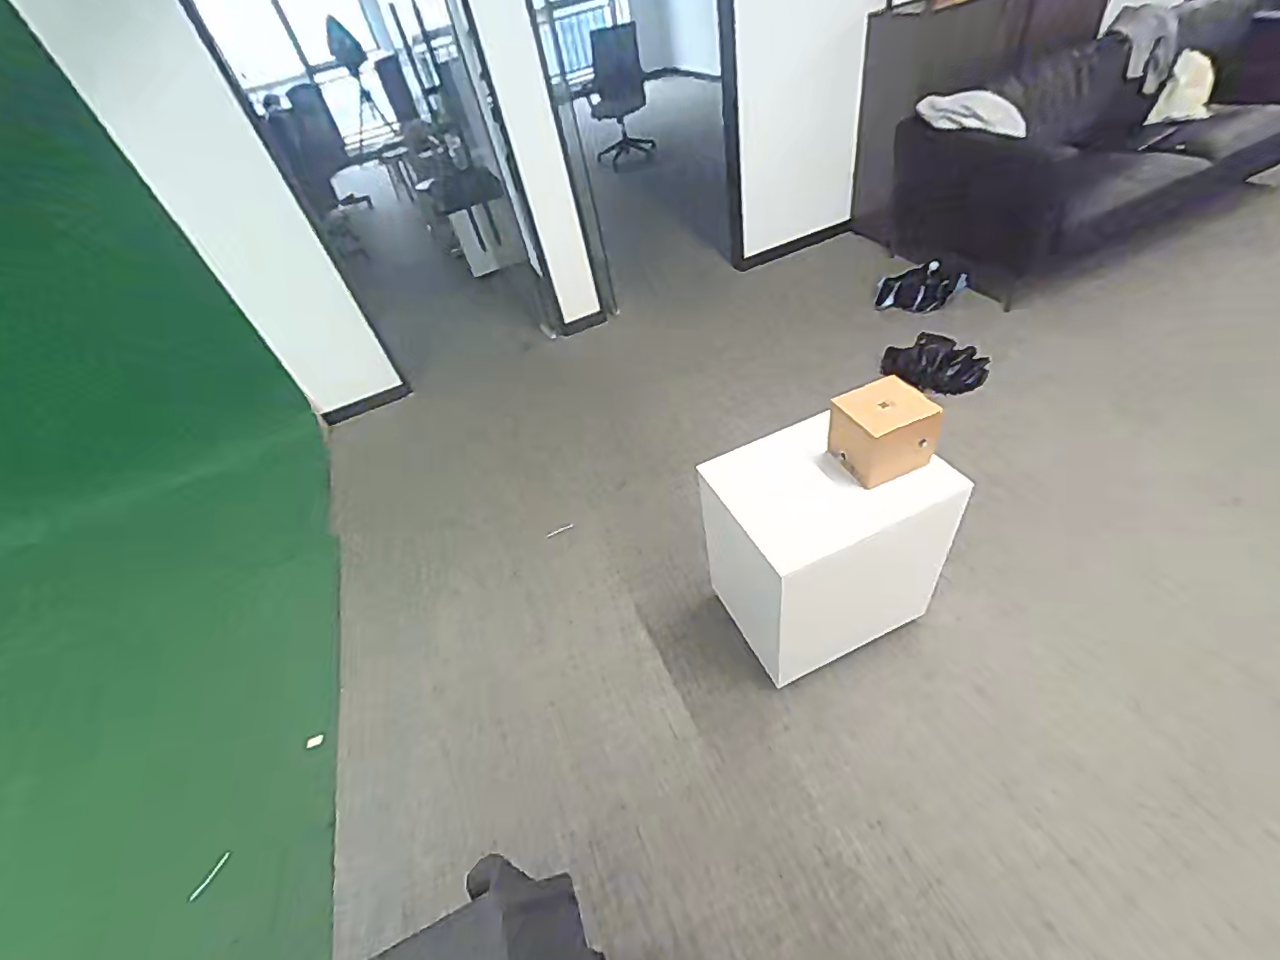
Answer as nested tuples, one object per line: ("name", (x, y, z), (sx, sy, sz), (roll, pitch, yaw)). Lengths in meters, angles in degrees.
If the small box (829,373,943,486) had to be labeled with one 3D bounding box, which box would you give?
("small box", (0.563, -0.116, 1.266), (0.179, 0.176, 0.168), (-23, 44, -7))
